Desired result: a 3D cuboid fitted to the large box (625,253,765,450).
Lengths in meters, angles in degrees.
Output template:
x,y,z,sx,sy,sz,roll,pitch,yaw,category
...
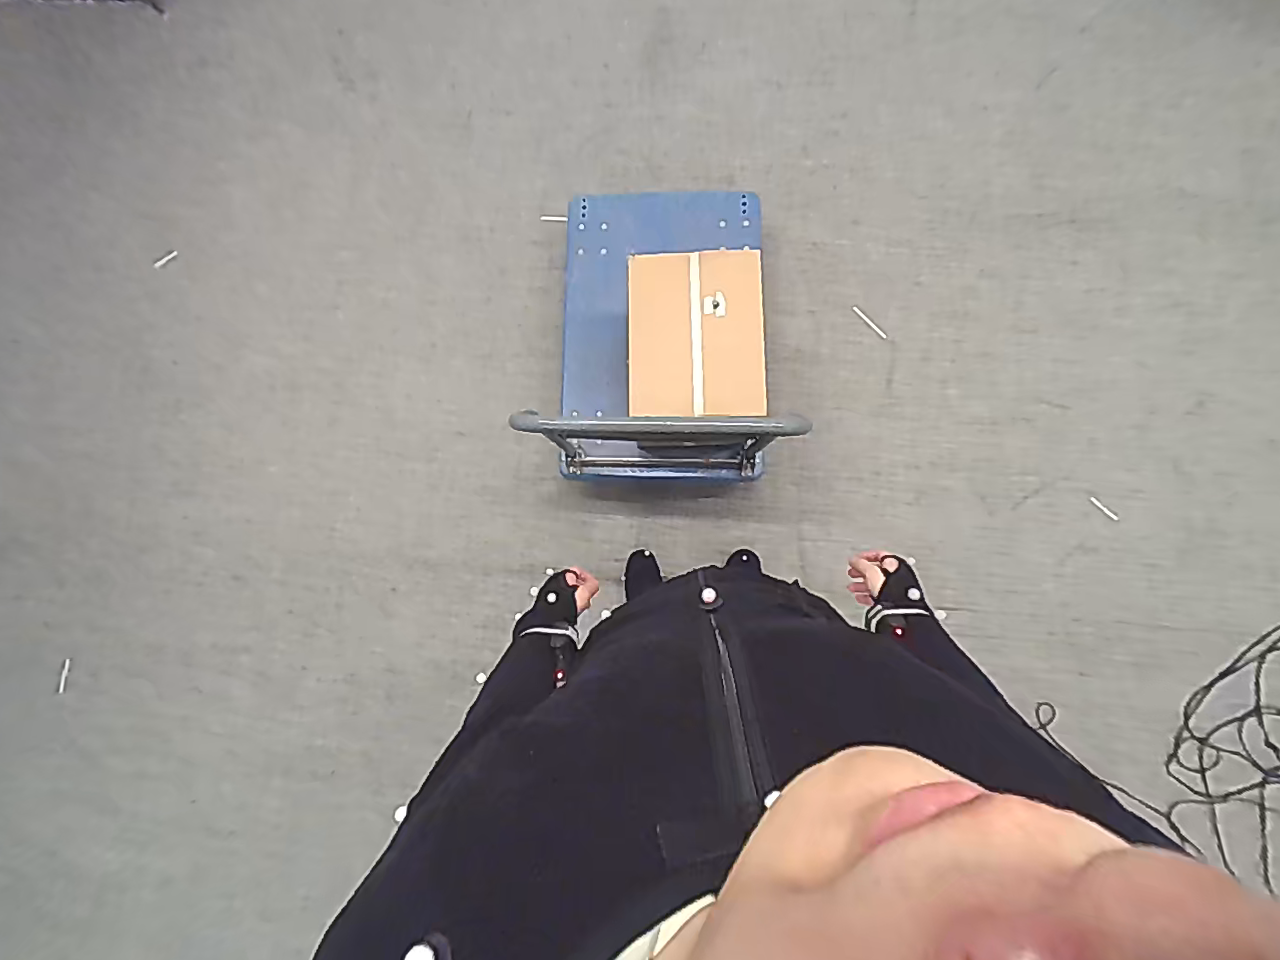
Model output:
x,y,z,sx,sy,sz,roll,pitch,yaw,category
0.131,-0.307,1.388,0.320,0.320,0.408,-1,81,2,large box
